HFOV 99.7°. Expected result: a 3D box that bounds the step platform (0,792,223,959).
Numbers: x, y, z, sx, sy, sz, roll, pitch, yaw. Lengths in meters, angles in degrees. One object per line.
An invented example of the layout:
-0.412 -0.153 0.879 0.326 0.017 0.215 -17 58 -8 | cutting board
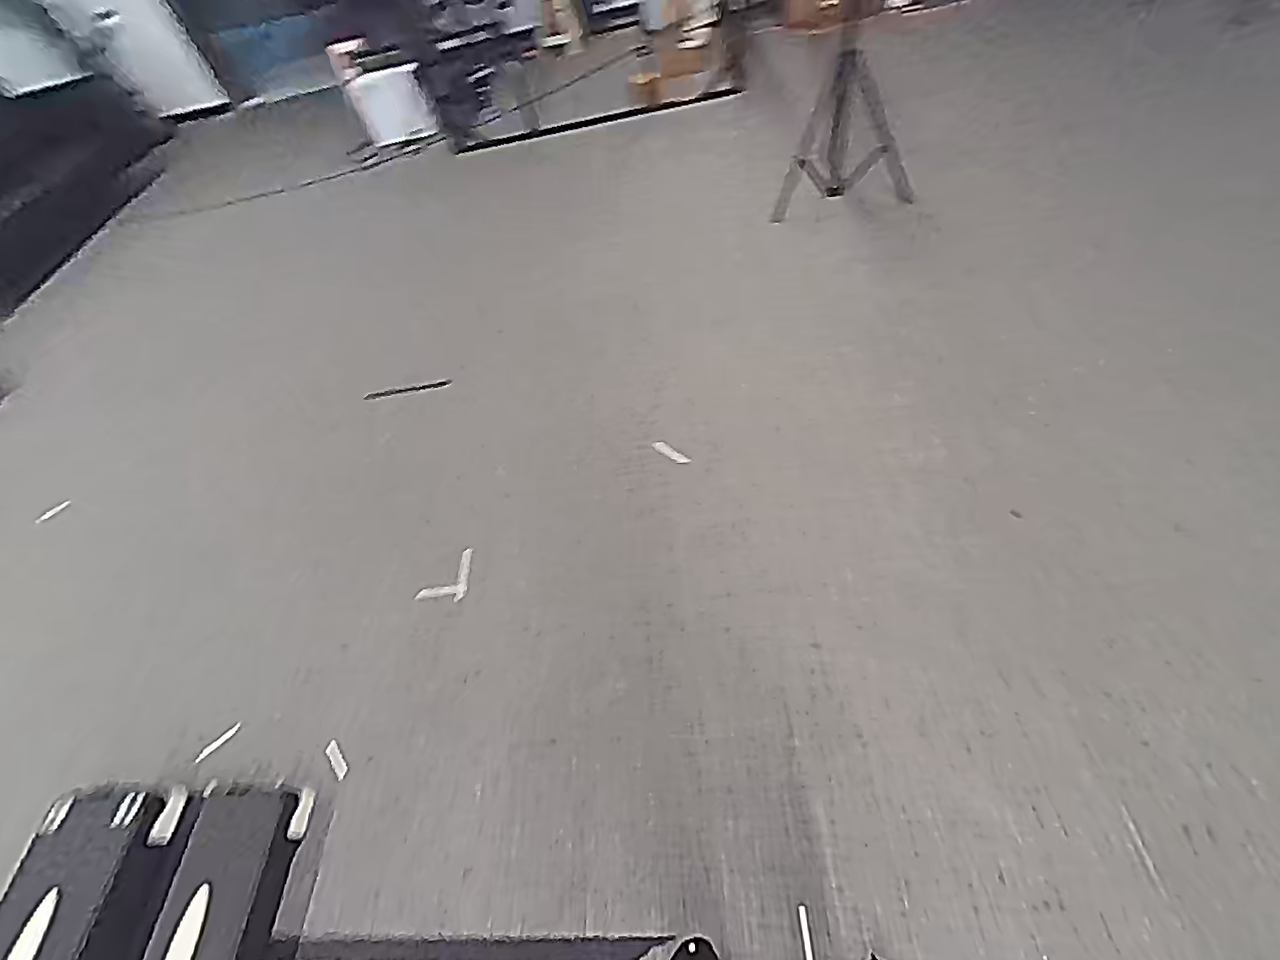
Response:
-1.235 1.077 1.183 0.286 0.204 0.684 -8 51 6 | step platform
